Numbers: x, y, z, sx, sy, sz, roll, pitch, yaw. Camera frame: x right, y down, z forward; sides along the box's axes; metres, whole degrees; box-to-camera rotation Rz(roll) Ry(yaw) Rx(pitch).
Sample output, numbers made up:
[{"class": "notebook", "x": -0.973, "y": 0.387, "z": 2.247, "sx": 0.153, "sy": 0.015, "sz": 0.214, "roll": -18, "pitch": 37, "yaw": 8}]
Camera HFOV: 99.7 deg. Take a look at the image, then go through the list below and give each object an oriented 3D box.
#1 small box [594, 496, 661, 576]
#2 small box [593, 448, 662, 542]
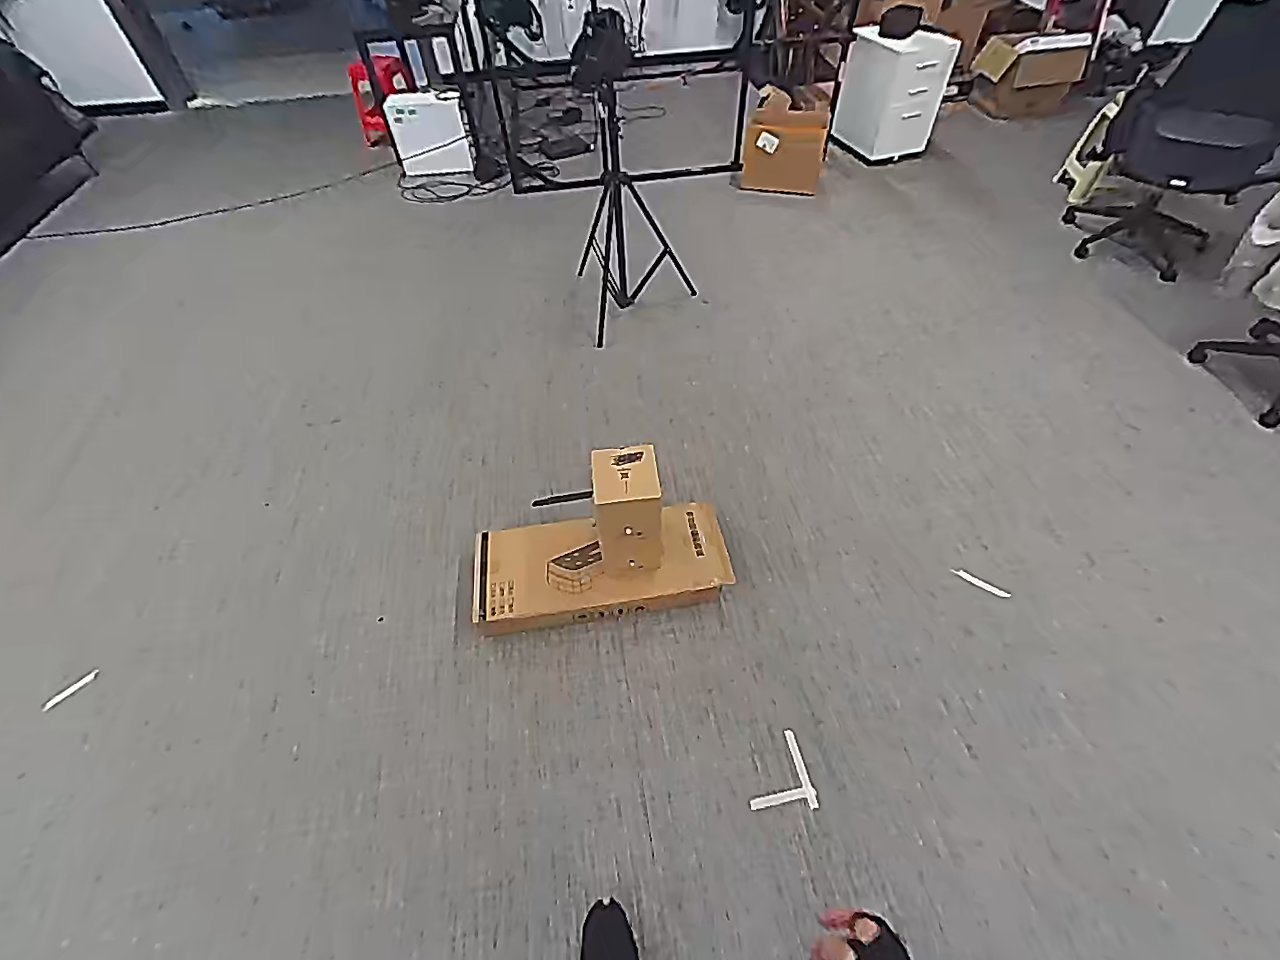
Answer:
[{"class": "small box", "x": -0.036, "y": 0.148, "z": 1.545, "sx": 0.168, "sy": 0.176, "sz": 0.179, "roll": -9, "pitch": 51, "yaw": -4}, {"class": "small box", "x": -0.033, "y": 0.041, "z": 1.420, "sx": 0.168, "sy": 0.176, "sz": 0.179, "roll": -6, "pitch": 51, "yaw": -2}]
